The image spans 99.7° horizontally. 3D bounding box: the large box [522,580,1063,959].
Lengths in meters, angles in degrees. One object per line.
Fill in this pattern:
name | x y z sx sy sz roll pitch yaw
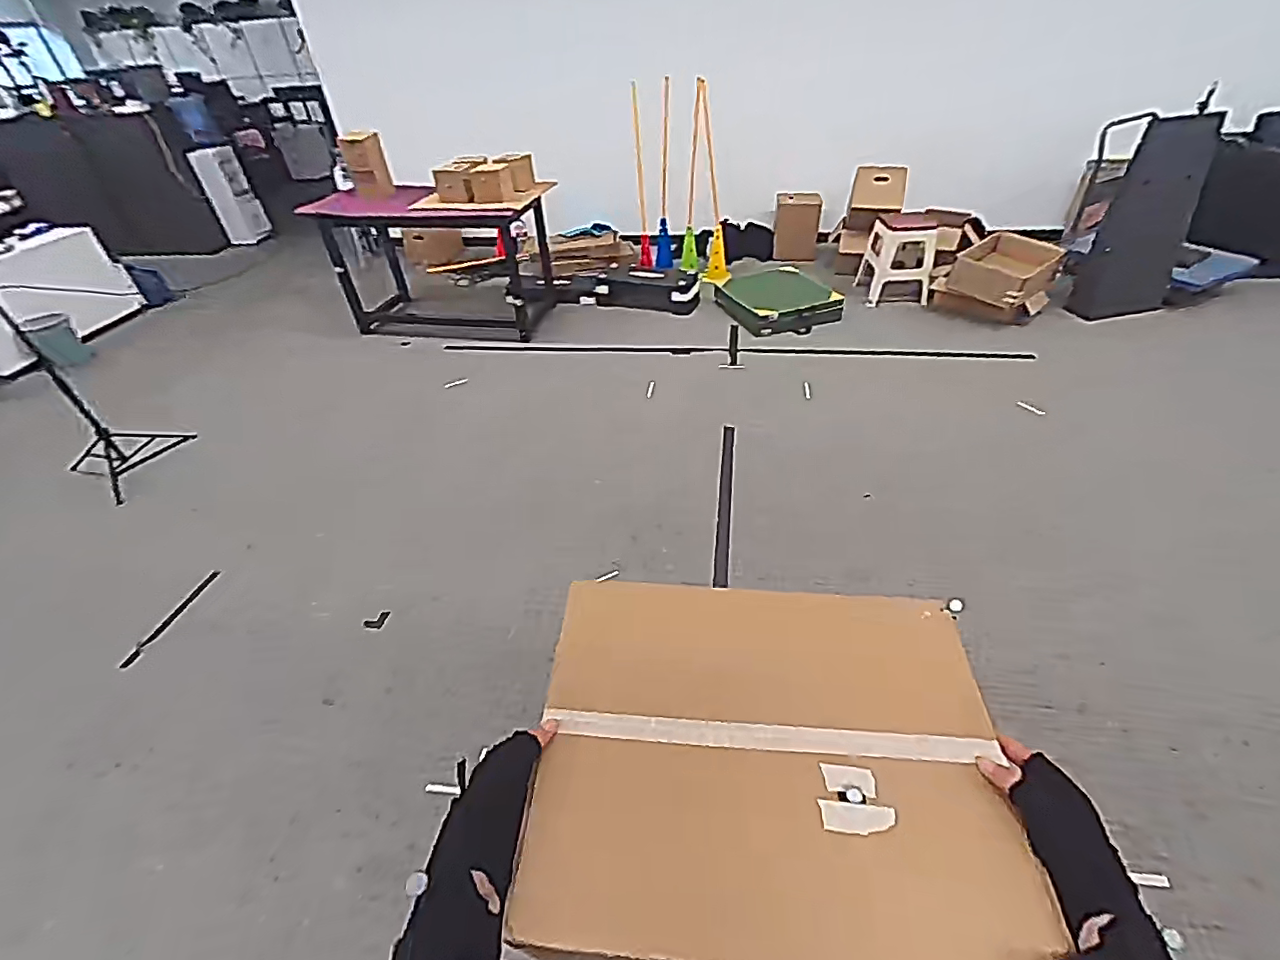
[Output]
large box | 0.119 0.335 0.605 0.408 0.320 0.320 3 46 5
